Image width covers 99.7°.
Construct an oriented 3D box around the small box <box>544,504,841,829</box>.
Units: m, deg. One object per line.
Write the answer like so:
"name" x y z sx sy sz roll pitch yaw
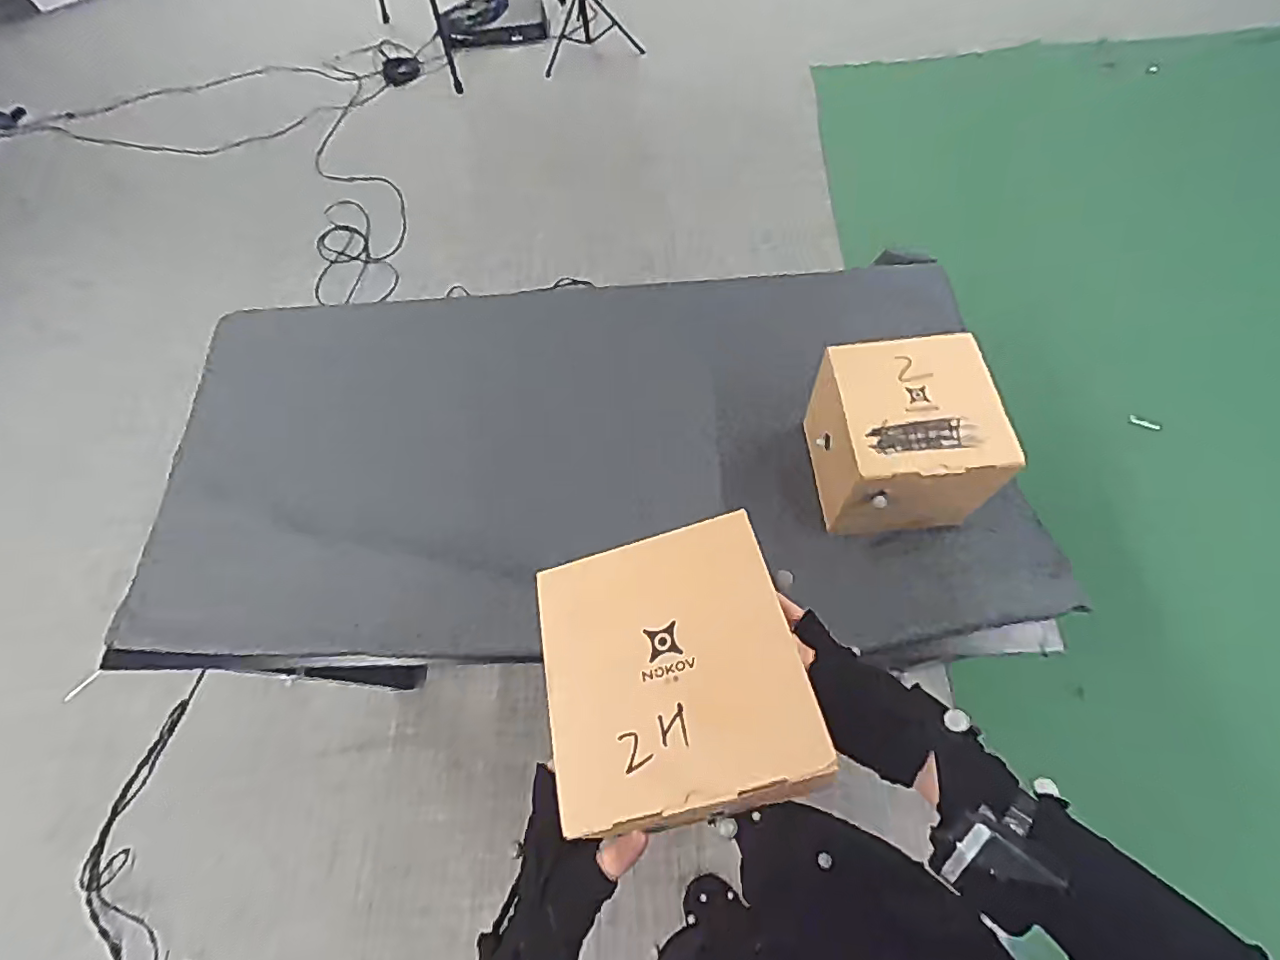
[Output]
"small box" 0.038 0.151 0.418 0.168 0.176 0.179 -18 54 6
